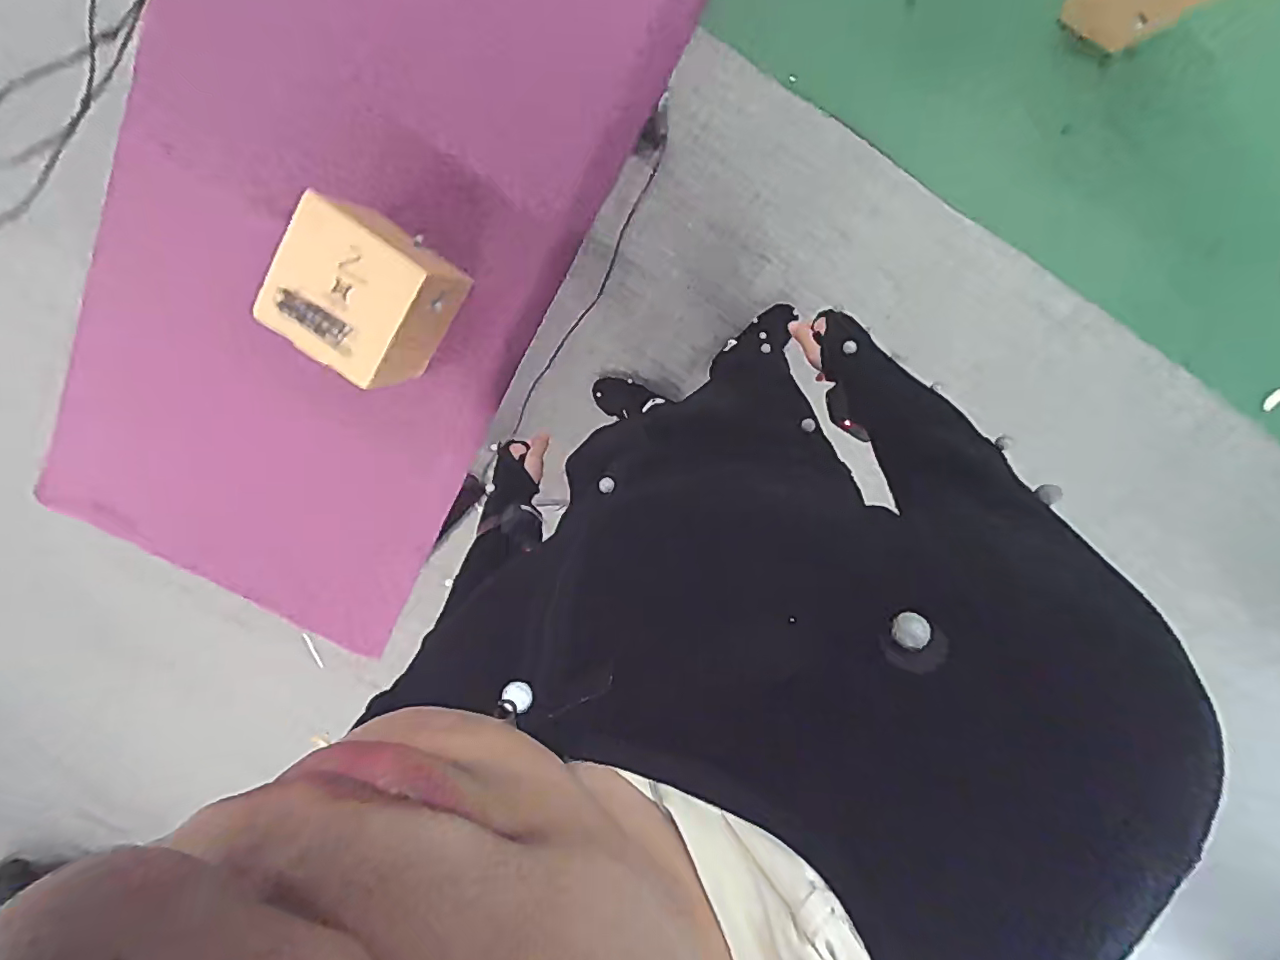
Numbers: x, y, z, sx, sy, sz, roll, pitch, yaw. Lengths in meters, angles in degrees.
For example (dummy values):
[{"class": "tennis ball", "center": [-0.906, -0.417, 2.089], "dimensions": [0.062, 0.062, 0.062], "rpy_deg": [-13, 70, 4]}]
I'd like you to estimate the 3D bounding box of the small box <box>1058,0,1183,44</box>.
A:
[{"class": "small box", "center": [1.074, -1.093, 1.165], "dimensions": [0.179, 0.176, 0.168], "rpy_deg": [26, 107, -6]}]
